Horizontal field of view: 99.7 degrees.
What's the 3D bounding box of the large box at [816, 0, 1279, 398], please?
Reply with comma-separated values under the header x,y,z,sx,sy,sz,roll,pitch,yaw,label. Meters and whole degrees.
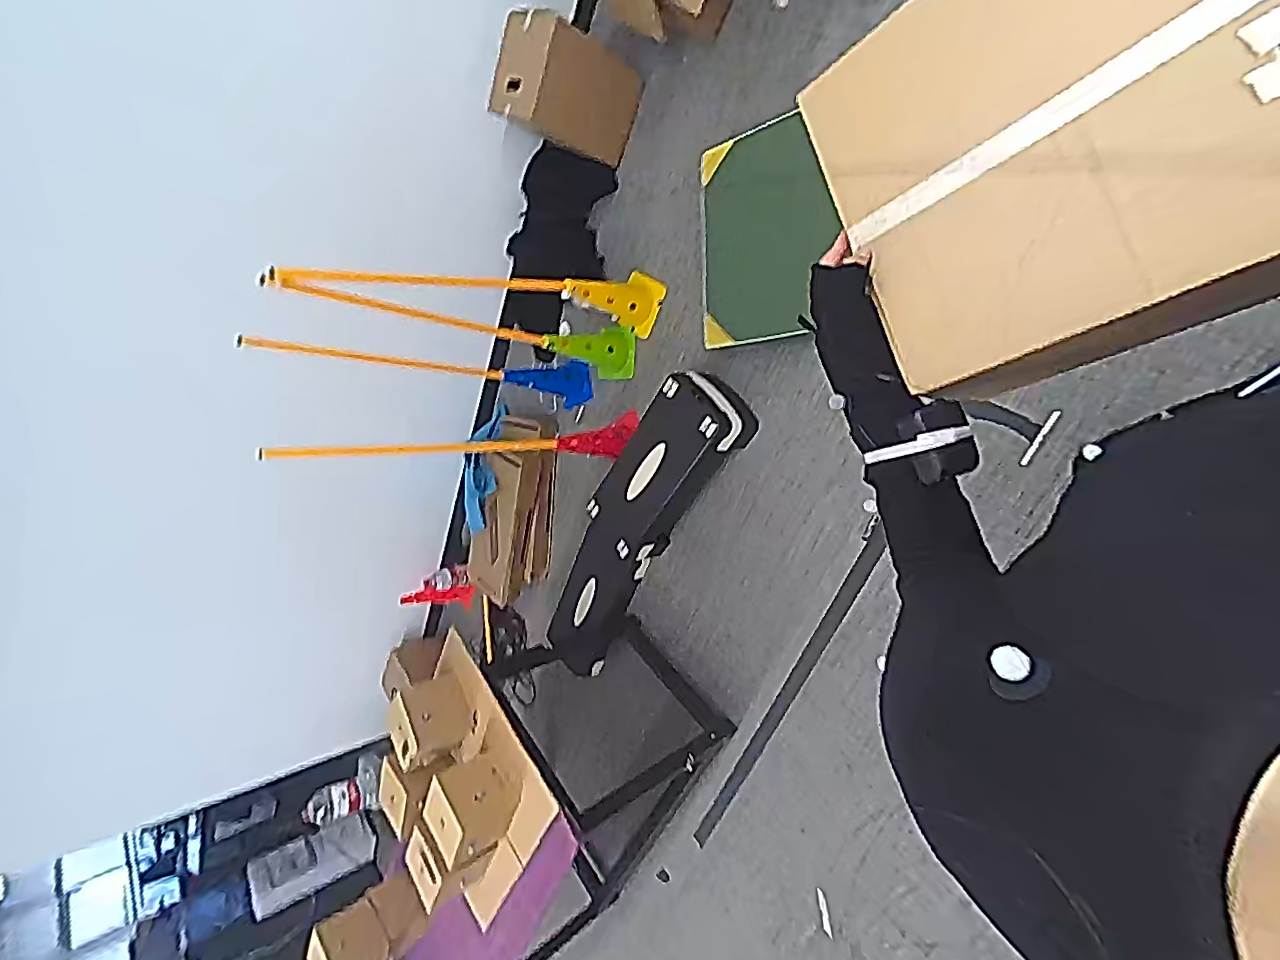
x,y,z,sx,sy,sz,roll,pitch,yaw,label
0.444,-0.294,0.490,0.408,0.320,0.320,-22,82,40,large box
